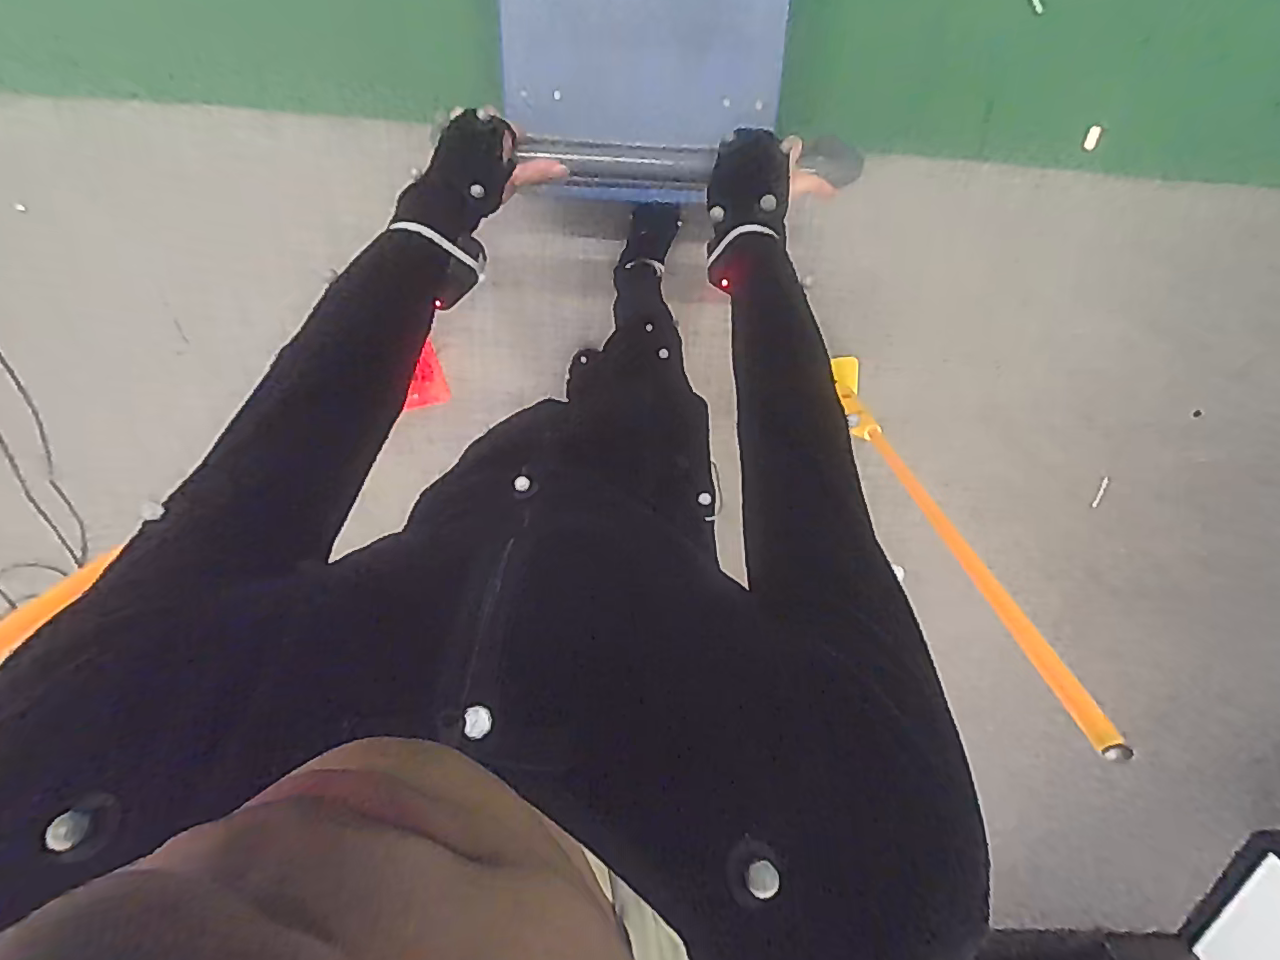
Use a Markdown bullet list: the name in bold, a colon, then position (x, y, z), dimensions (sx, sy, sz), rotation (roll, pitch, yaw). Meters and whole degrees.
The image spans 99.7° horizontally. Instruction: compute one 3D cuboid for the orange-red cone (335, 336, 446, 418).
- **orange-red cone**: position (-0.656, -0.222, 1.350), dimensions (0.199, 0.360, 0.198), rotation (-10, 113, 4)
